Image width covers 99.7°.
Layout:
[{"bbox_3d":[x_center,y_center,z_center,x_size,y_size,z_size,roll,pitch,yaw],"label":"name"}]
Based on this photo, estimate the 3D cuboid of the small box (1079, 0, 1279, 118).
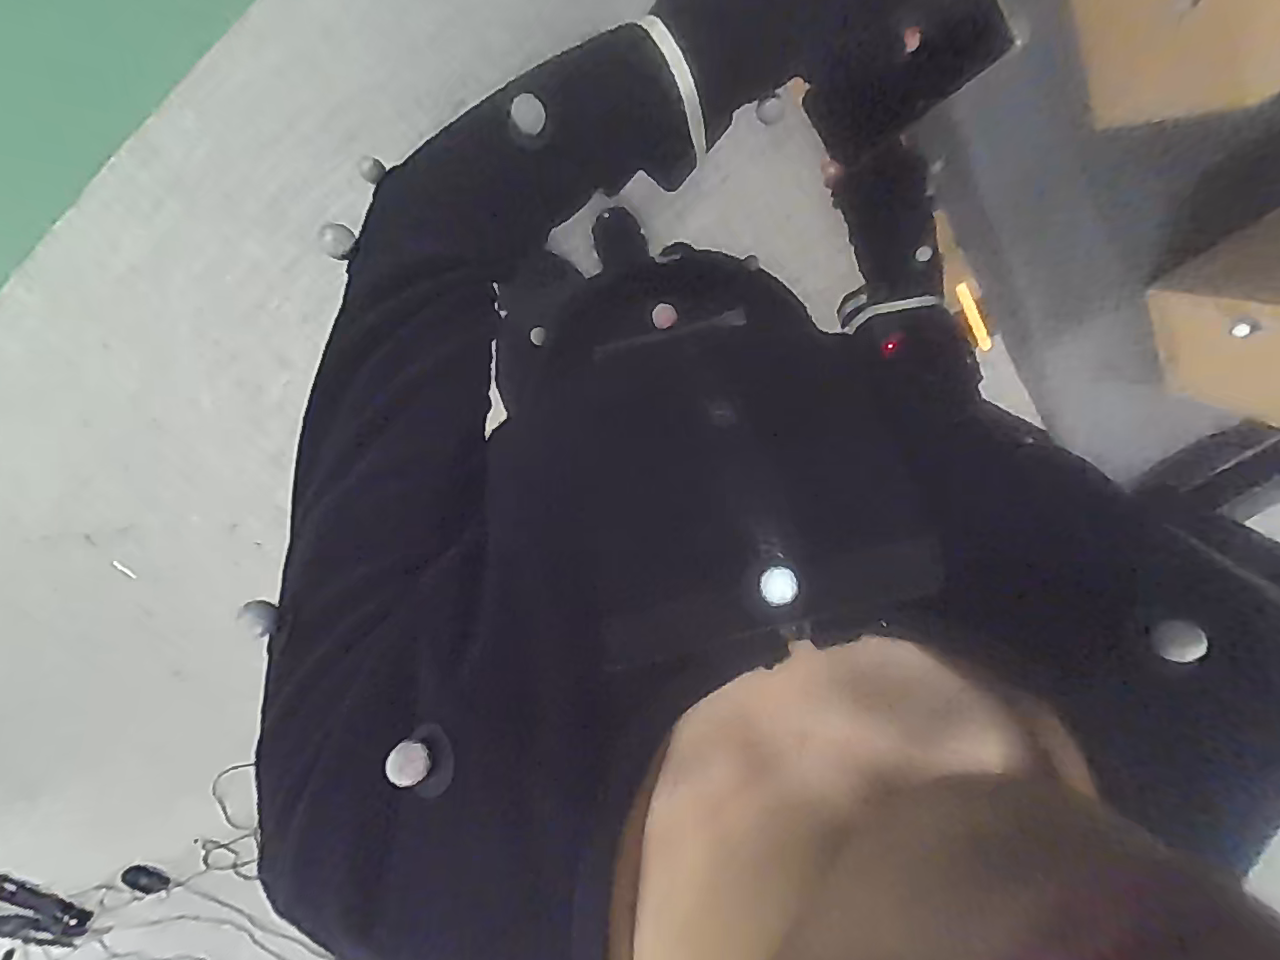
[{"bbox_3d":[0.527,-0.453,0.465,0.168,0.176,0.179,-31,114,12],"label":"small box"}]
